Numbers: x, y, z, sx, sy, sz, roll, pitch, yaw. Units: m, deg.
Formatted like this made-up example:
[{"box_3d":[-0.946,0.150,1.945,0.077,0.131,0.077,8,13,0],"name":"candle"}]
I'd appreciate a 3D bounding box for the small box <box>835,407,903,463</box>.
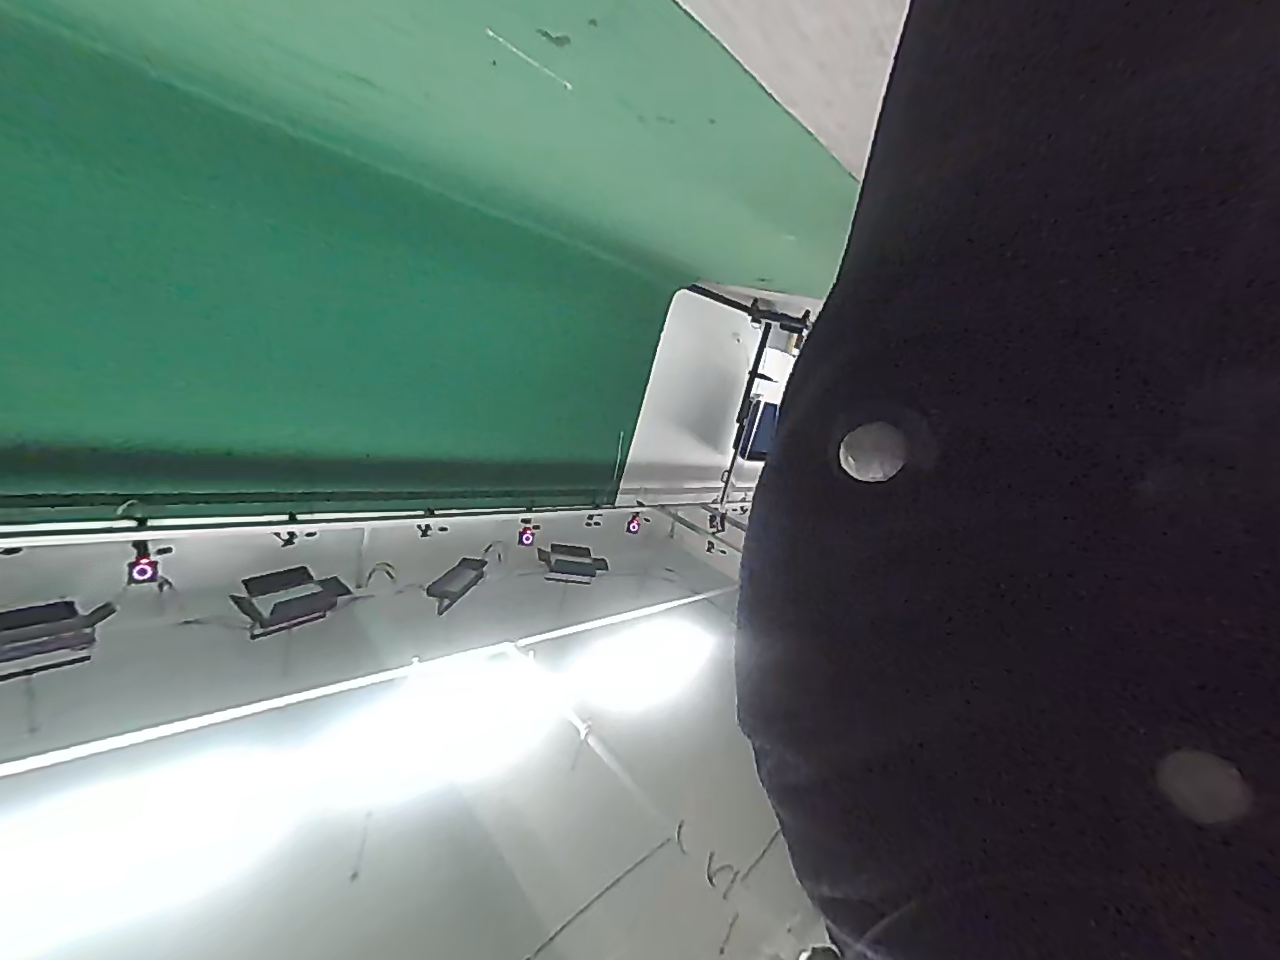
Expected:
[{"box_3d":[0.876,-0.172,2.050,0.179,0.176,0.168,27,-163,35],"name":"small box"}]
